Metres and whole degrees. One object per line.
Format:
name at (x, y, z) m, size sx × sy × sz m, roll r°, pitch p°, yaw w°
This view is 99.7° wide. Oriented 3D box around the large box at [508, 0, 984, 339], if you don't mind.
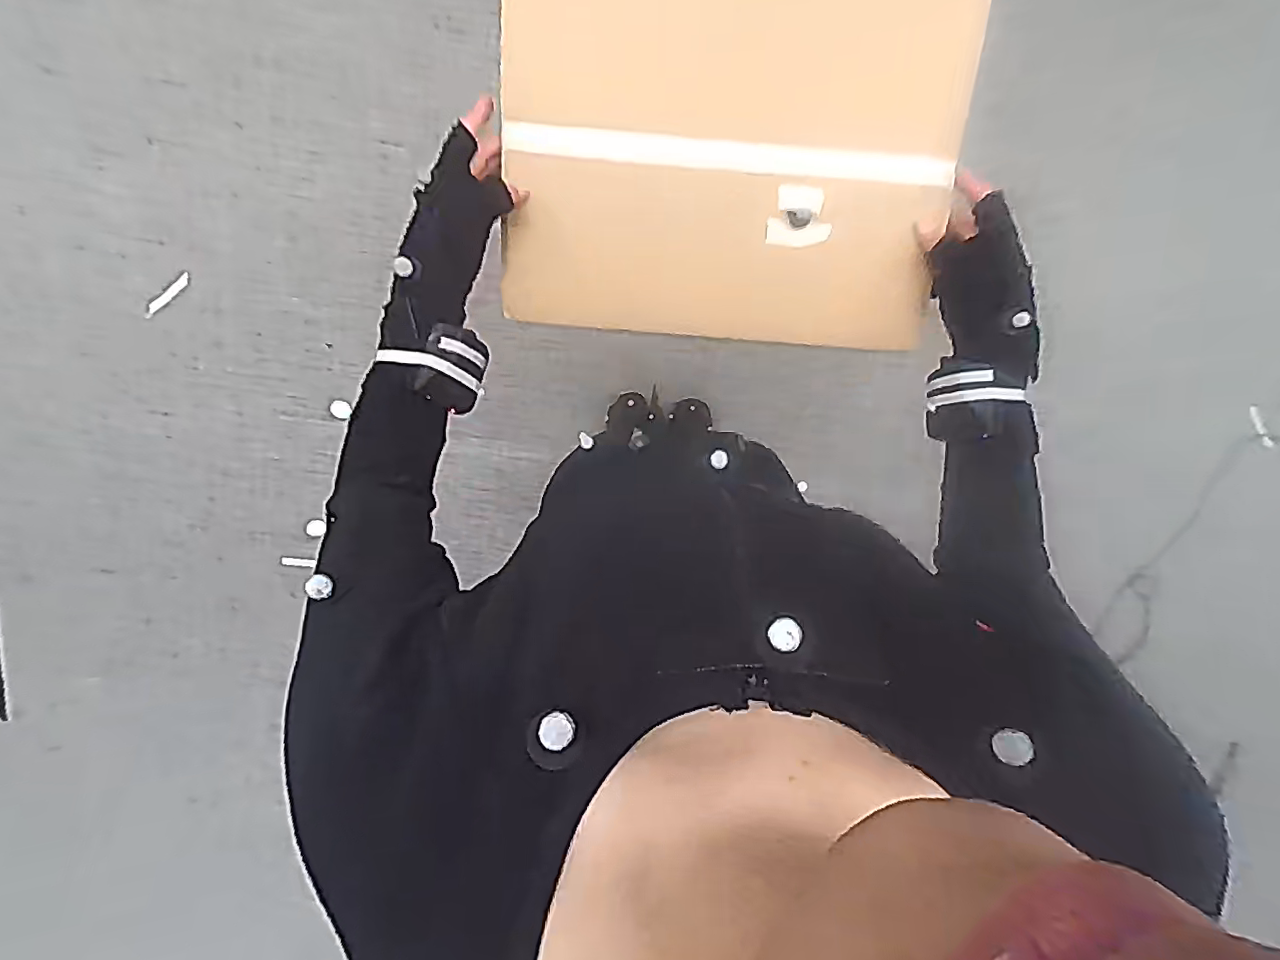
large box at (0.078, -0.335, 0.621) m, size 0.408 × 0.320 × 0.320 m, roll 3°, pitch 107°, yaw -3°
